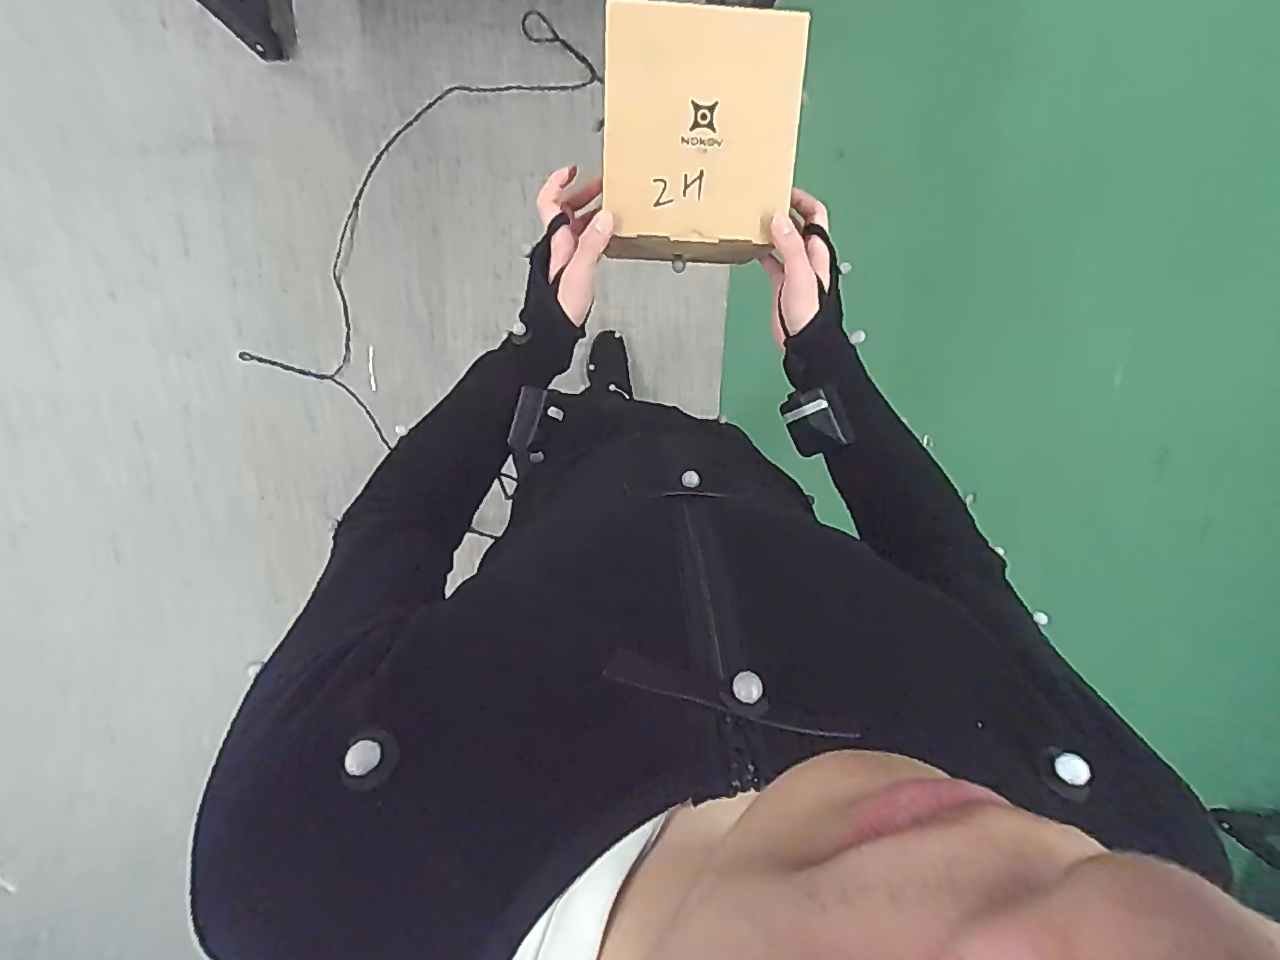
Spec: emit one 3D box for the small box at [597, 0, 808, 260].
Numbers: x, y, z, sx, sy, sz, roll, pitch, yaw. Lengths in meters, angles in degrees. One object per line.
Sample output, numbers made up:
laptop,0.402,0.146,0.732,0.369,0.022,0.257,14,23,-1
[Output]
small box,0.045,-0.322,0.523,0.168,0.176,0.179,2,105,-3
